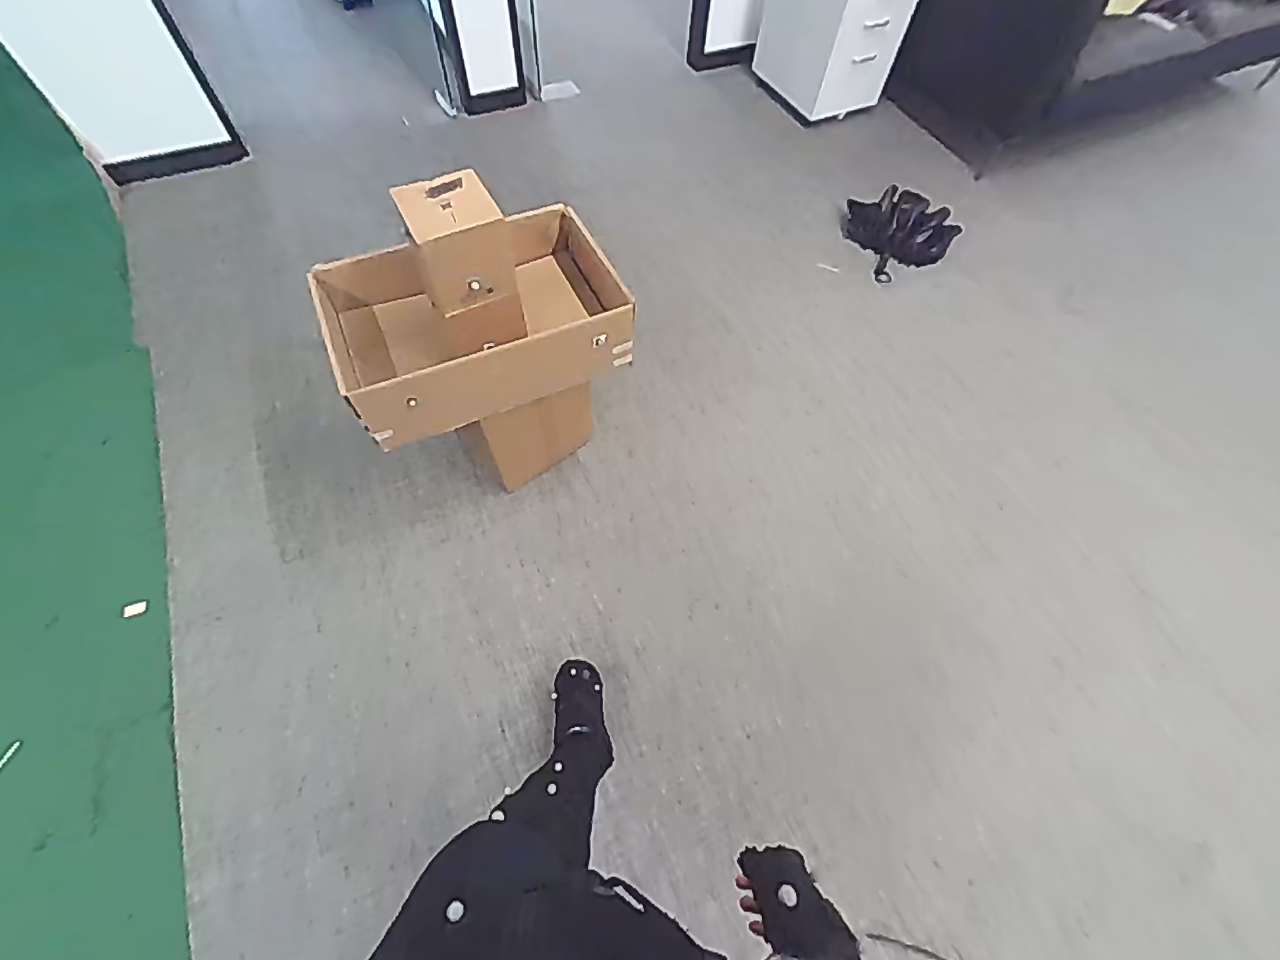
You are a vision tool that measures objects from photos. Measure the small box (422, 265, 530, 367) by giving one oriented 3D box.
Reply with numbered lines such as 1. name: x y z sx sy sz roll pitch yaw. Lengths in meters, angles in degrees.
1. small box: -0.363 -0.389 1.218 0.168 0.176 0.179 -26 65 -16

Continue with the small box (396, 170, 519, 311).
1. small box: -0.357 -0.473 1.077 0.168 0.176 0.179 -24 65 -14
